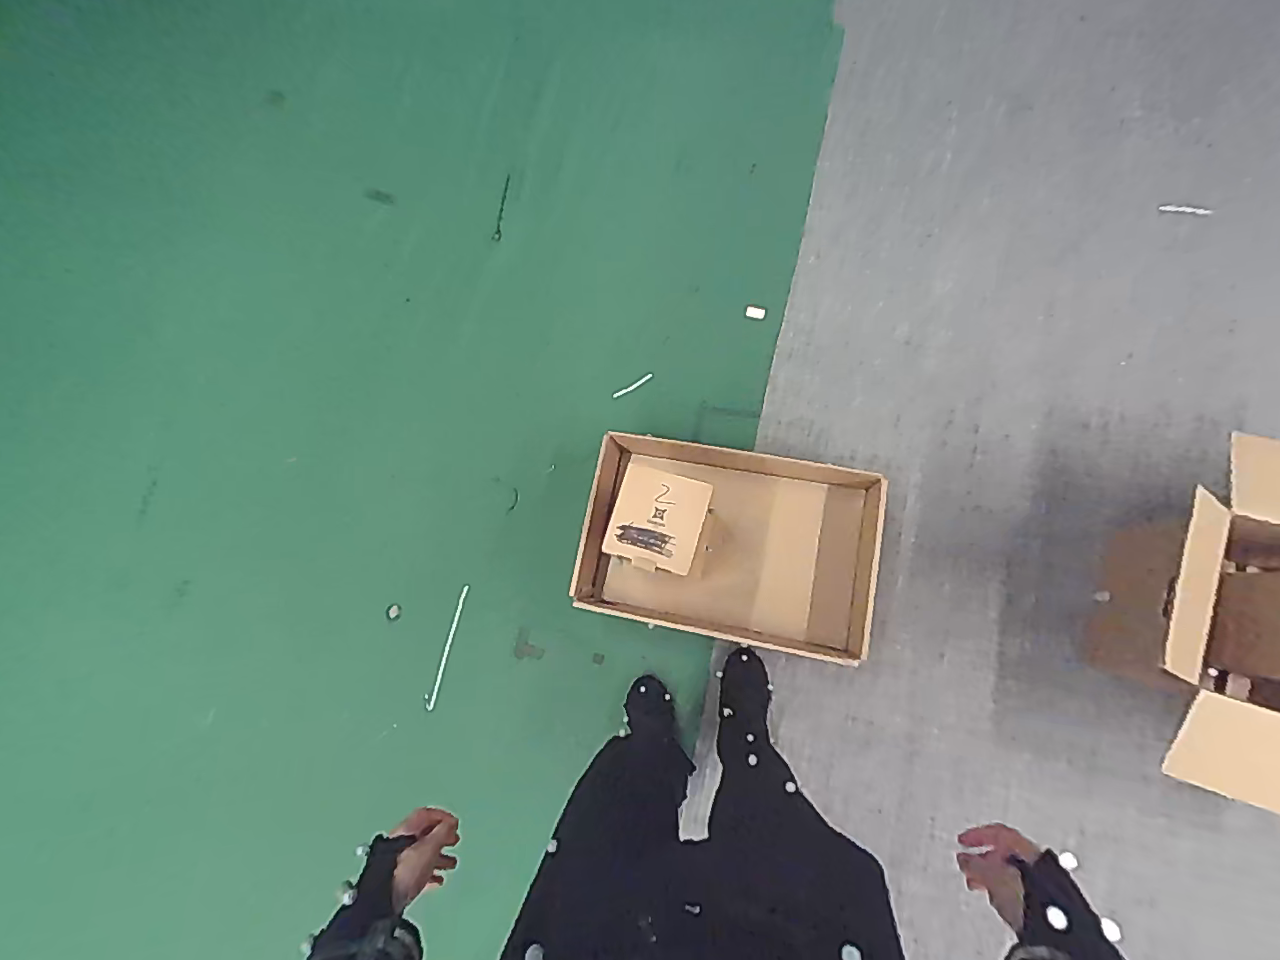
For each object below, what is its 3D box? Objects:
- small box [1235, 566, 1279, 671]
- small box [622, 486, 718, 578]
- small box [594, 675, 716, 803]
[{"bbox_3d":[1.139,0.237,0.883,0.168,0.176,0.179,9,80,14],"label":"small box"},{"bbox_3d":[0.074,0.123,1.219,0.179,0.176,0.168,11,79,10],"label":"small box"},{"bbox_3d":[0.038,0.544,1.155,0.176,0.168,0.179,45,60,-4],"label":"small box"}]
